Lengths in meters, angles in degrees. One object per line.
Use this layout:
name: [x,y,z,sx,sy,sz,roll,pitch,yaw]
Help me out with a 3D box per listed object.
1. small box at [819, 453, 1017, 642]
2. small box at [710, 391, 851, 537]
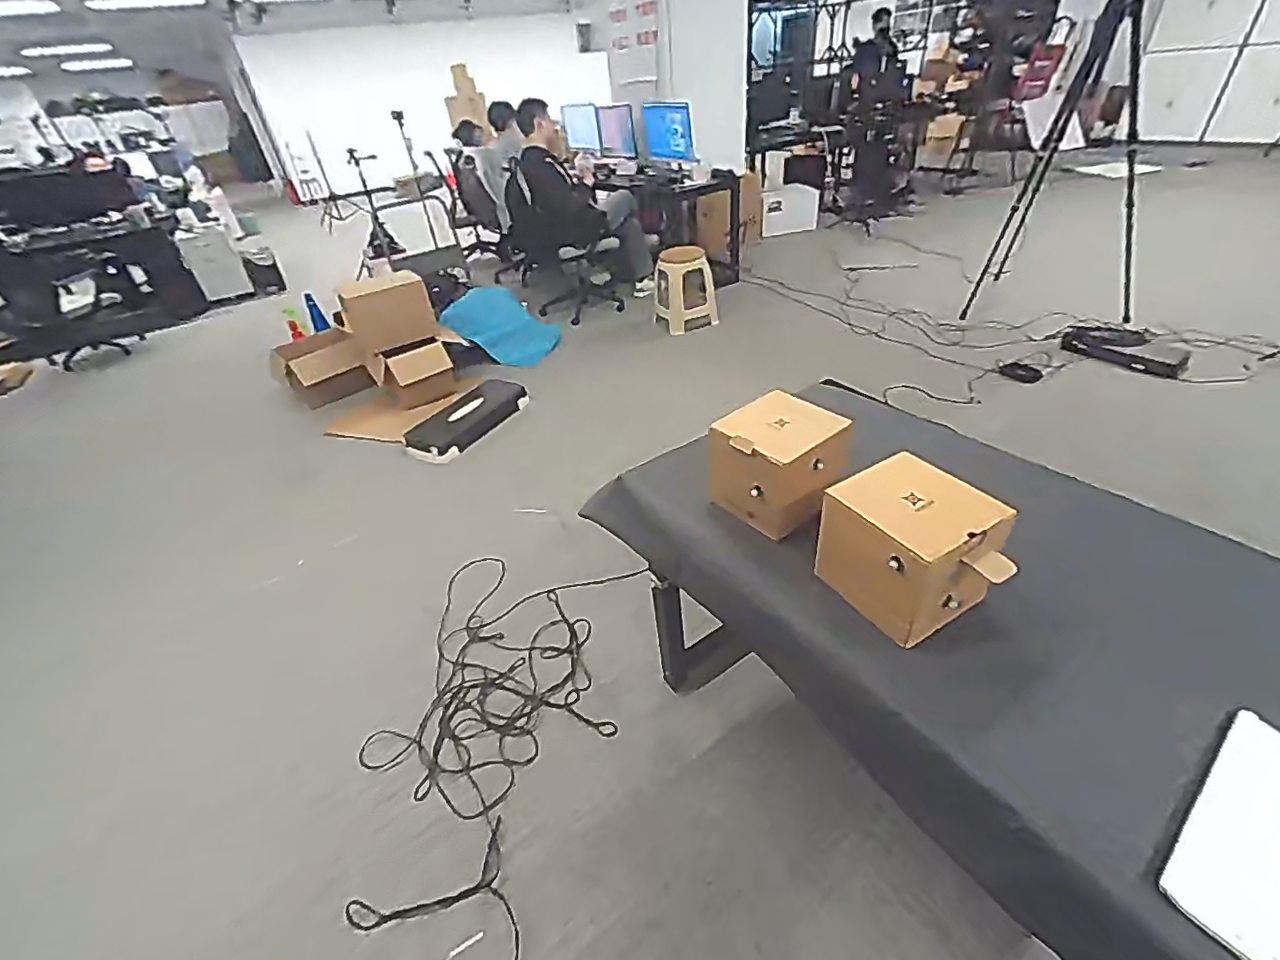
small box: [0.378,0.092,0.770,0.168,0.176,0.179,-23,39,-20]
small box: [0.243,-0.029,0.956,0.179,0.176,0.168,-28,42,-27]
